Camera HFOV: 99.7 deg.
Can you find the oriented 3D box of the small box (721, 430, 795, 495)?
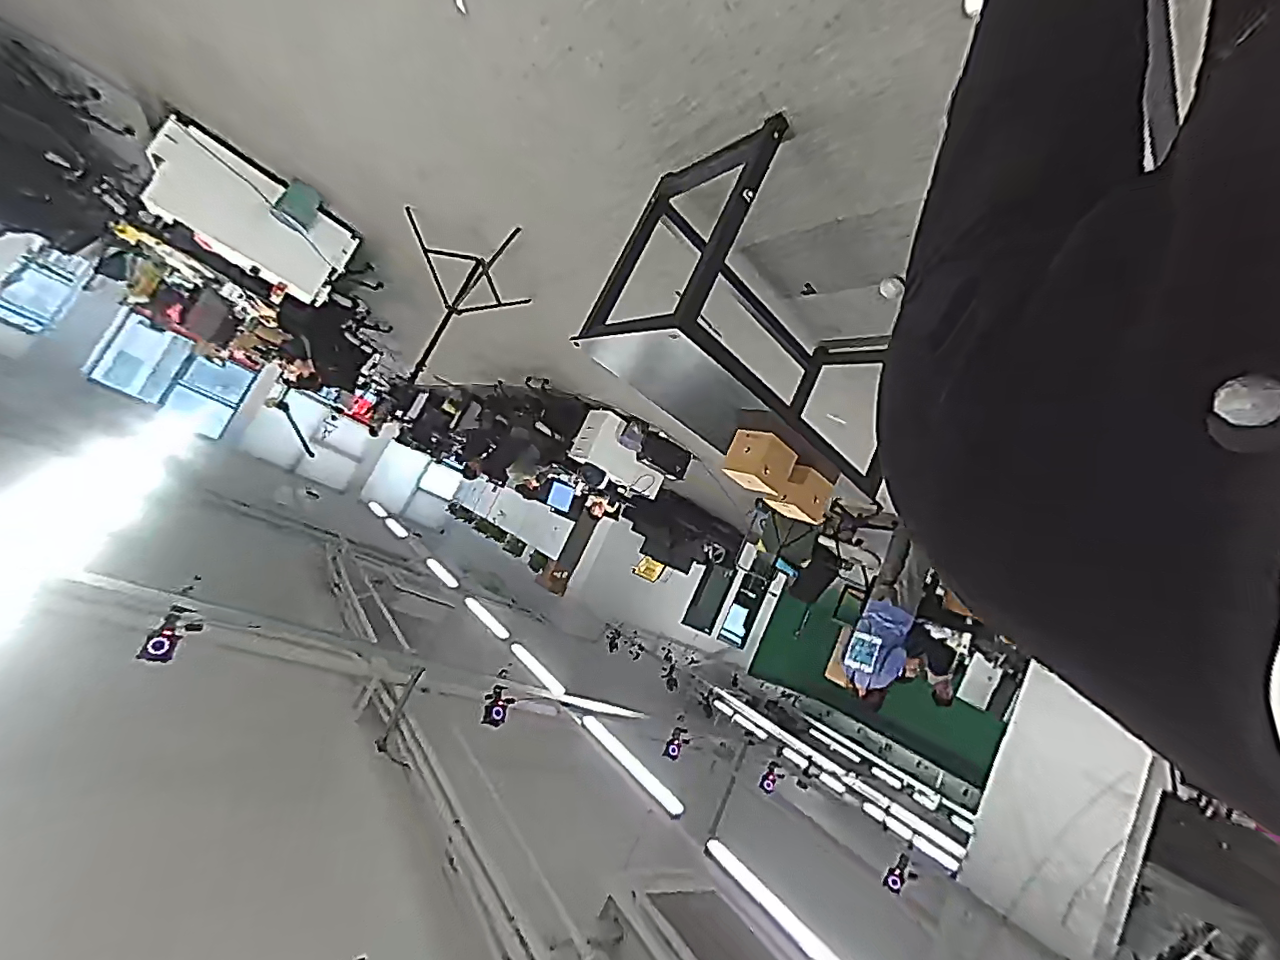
[{"bbox_3d":[0.432,-0.069,1.970,0.179,0.176,0.168,31,171,-37],"label":"small box"}]

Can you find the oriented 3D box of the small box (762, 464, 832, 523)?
[{"bbox_3d":[0.622,0.045,2.128,0.179,0.176,0.168,30,171,-33],"label":"small box"}]
